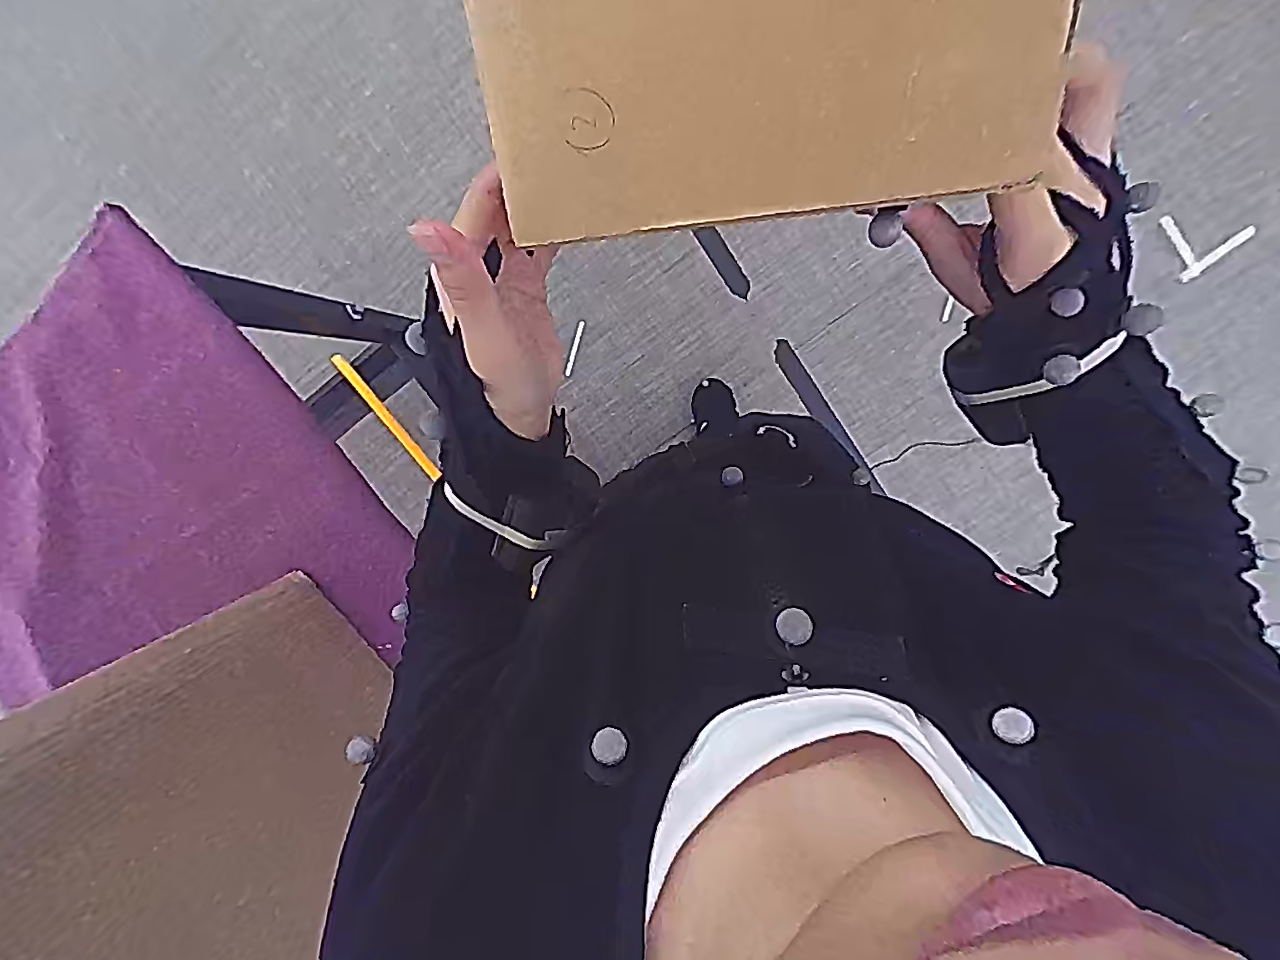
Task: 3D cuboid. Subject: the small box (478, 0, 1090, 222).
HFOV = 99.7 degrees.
[{"bbox_3d":[0.045,-0.201,0.215,0.179,0.176,0.168,-2,116,11],"label":"small box"}]
